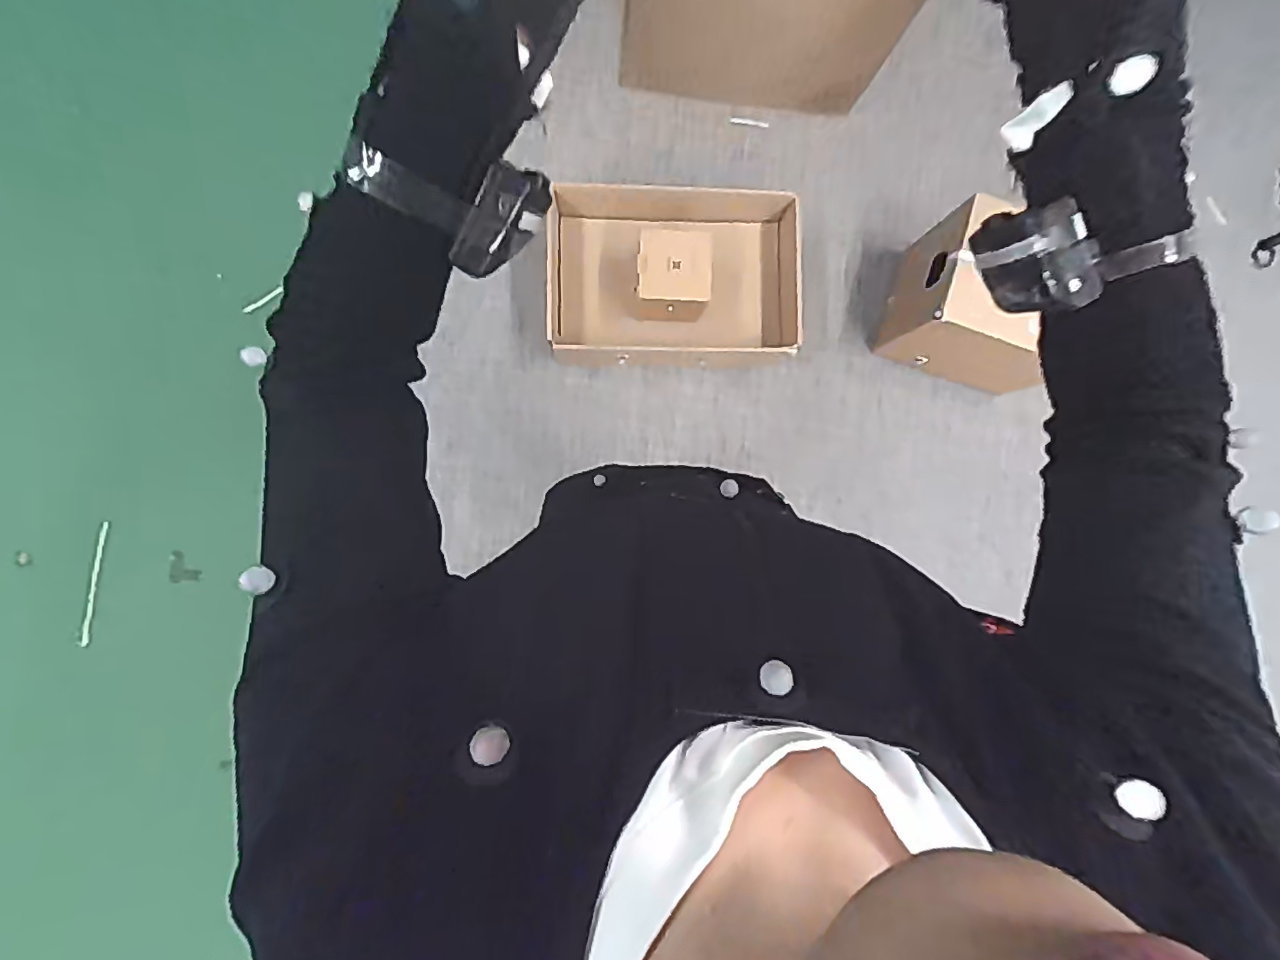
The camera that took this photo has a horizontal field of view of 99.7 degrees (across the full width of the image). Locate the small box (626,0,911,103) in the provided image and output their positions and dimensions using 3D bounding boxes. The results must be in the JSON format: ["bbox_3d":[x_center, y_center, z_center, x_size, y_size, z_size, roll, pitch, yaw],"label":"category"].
[{"bbox_3d":[0.086,-0.367,0.321,0.179,0.176,0.168,2,86,-8],"label":"small box"}]

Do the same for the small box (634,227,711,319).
[{"bbox_3d":[0.076,-0.515,1.366,0.179,0.176,0.168,1,89,-6],"label":"small box"}]
